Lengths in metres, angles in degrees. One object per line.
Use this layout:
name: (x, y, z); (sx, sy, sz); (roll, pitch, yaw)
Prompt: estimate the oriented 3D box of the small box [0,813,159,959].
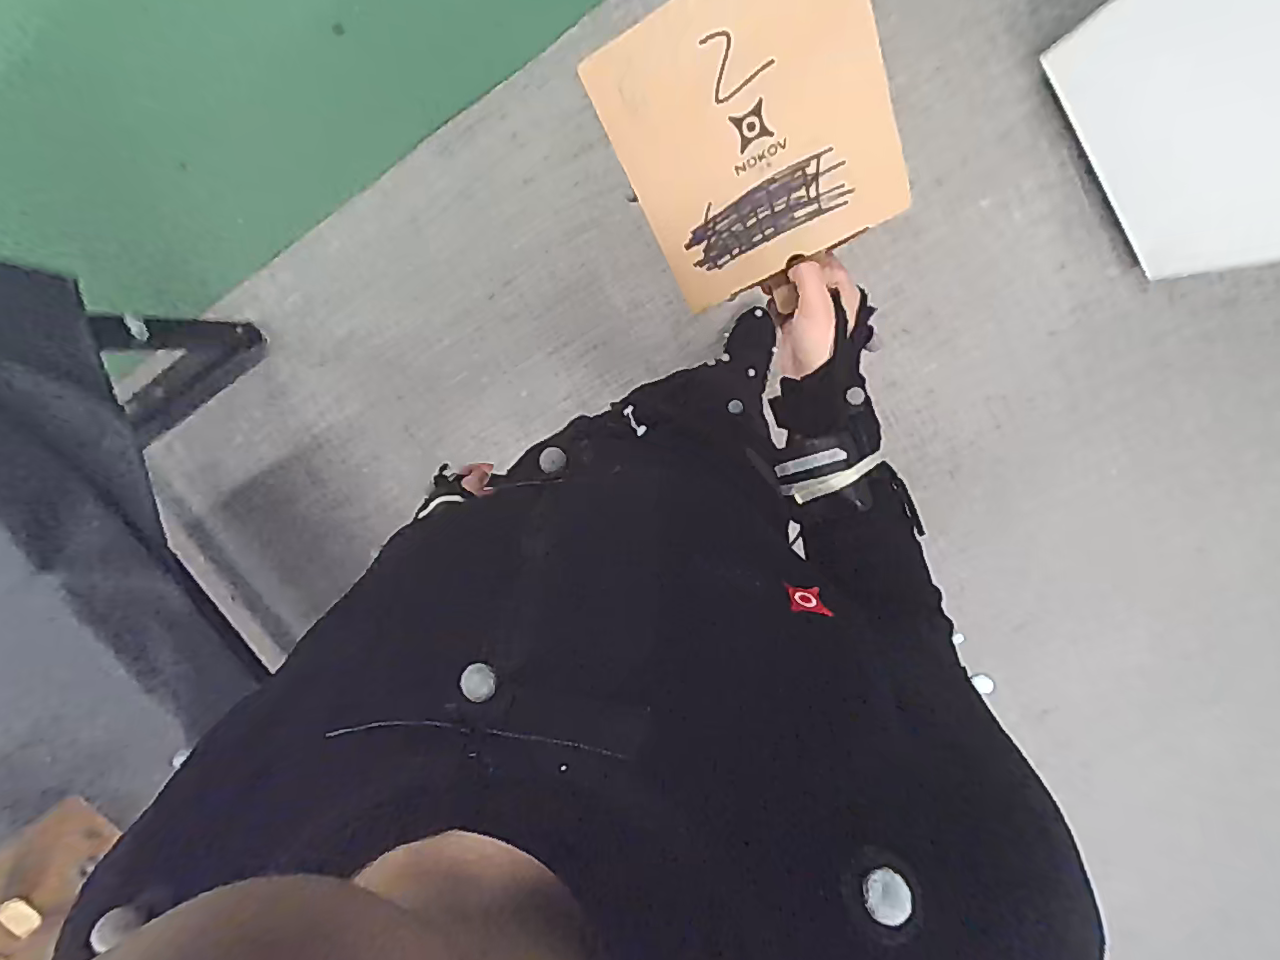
small box: (-0.832, 0.613, 0.742); (0.179, 0.176, 0.168); (-39, 98, 11)
